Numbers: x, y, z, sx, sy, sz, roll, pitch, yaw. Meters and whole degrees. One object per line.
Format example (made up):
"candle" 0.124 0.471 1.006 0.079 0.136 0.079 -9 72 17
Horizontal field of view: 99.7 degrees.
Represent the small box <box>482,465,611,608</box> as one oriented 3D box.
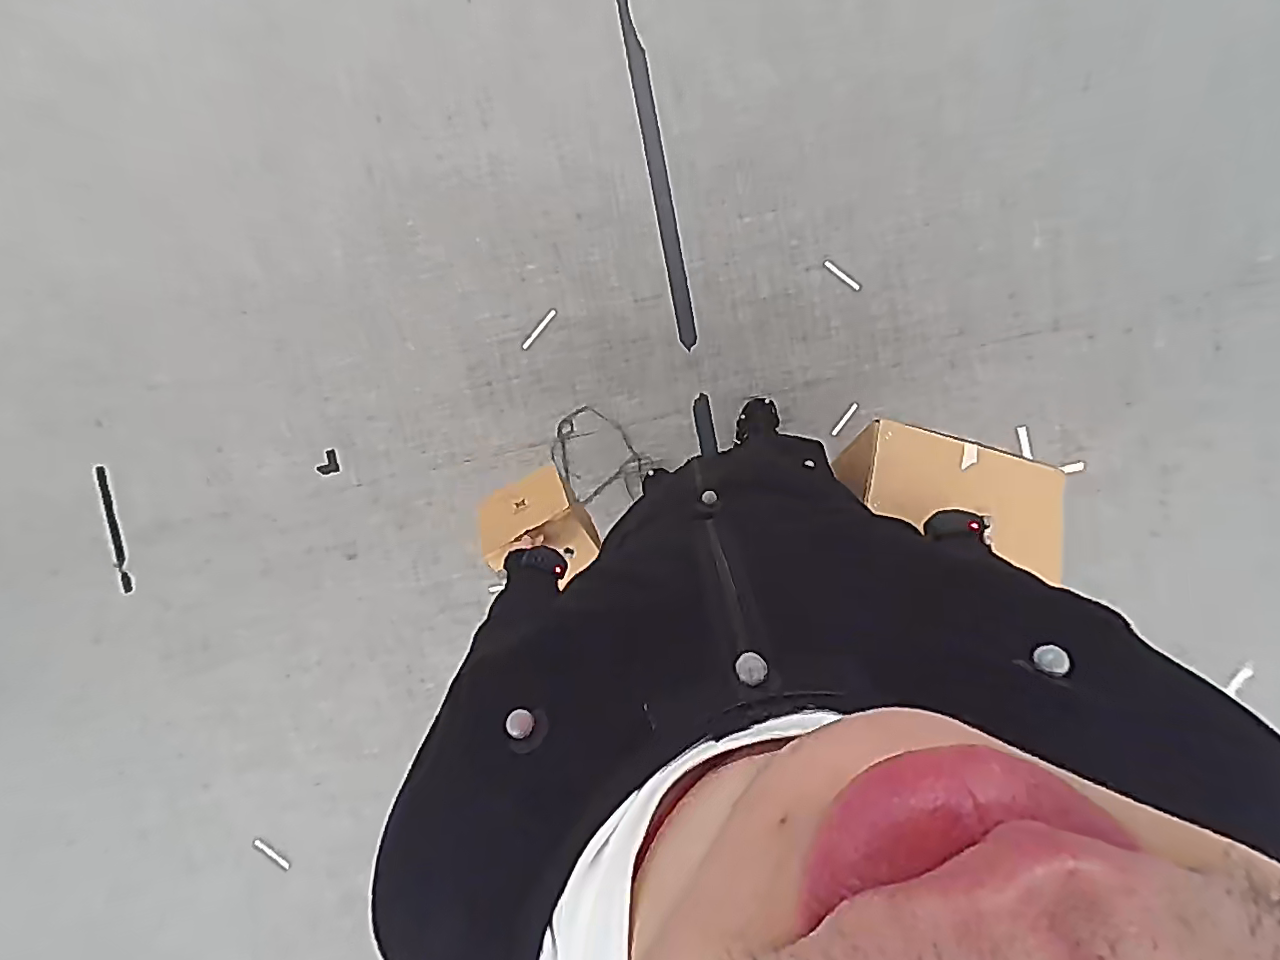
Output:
"small box" -0.172 0.110 0.997 0.168 0.179 0.176 -29 123 -2
